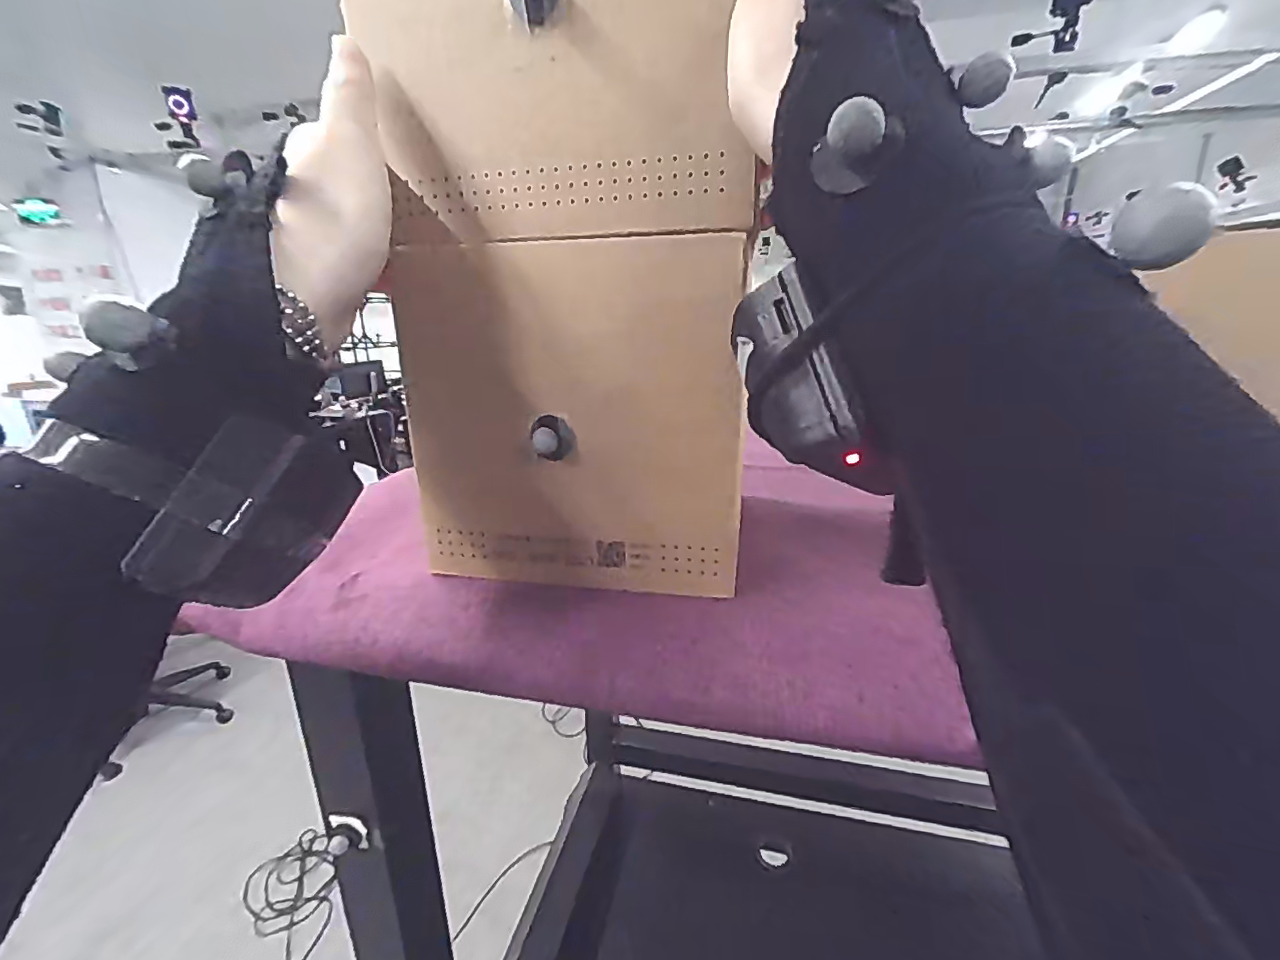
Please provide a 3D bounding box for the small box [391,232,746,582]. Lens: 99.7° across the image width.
[{"bbox_3d":[-0.020,-0.049,0.341,0.168,0.176,0.179,3,17,11],"label":"small box"}]
